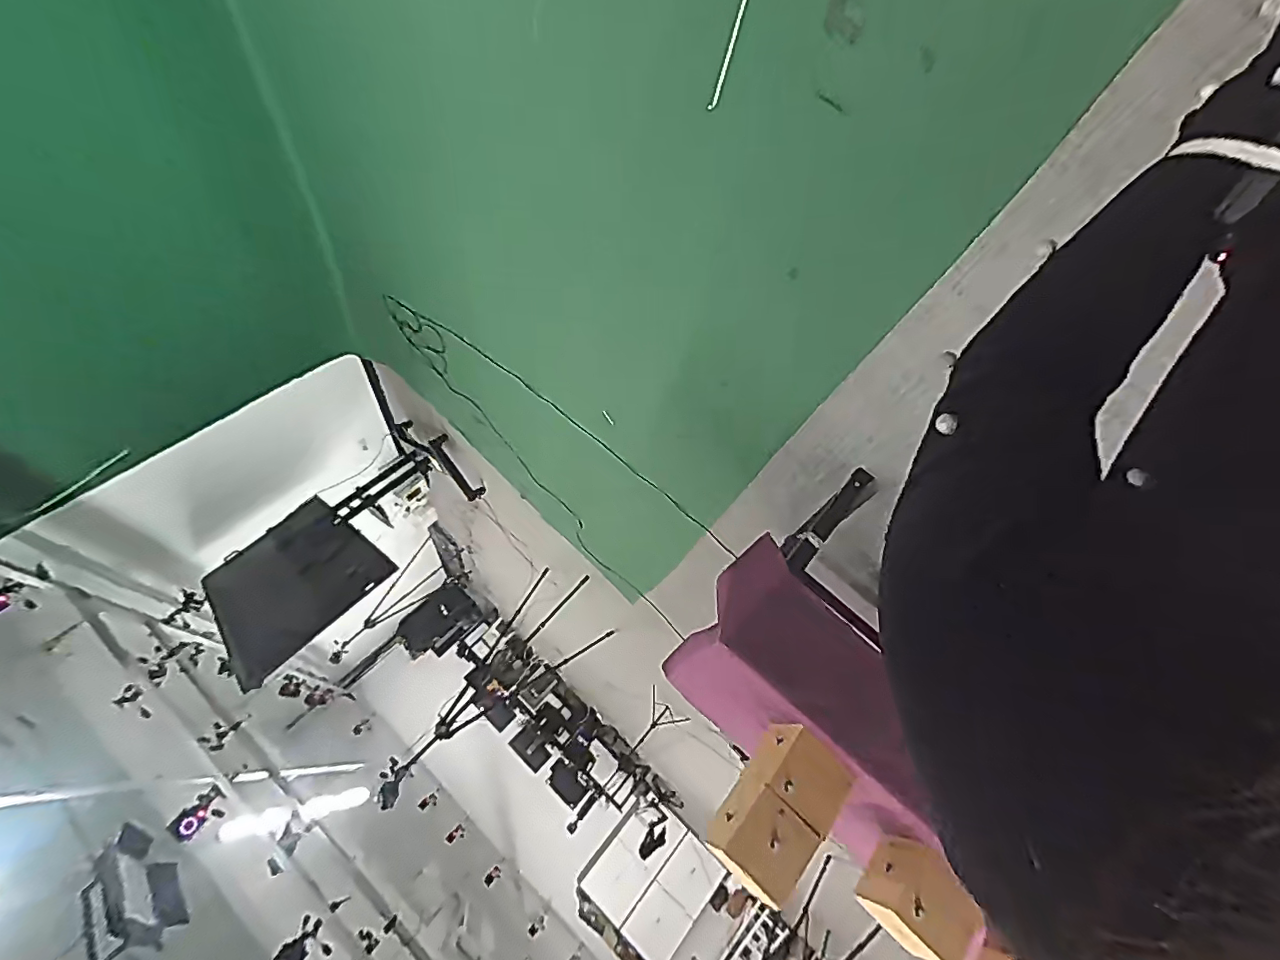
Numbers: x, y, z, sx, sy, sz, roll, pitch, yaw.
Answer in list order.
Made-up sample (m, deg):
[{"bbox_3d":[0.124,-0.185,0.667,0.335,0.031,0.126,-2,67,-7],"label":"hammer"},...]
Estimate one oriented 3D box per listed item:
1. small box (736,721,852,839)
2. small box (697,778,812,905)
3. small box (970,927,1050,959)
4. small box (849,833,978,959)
[{"bbox_3d":[0.376,0.719,1.316,0.179,0.176,0.168,45,153,6],"label":"small box"},{"bbox_3d":[0.265,0.816,1.242,0.168,0.176,0.179,43,152,9],"label":"small box"},{"bbox_3d":[0.860,1.159,1.197,0.179,0.176,0.168,45,153,6],"label":"small box"},{"bbox_3d":[0.638,0.969,1.264,0.179,0.176,0.168,43,153,9],"label":"small box"}]
